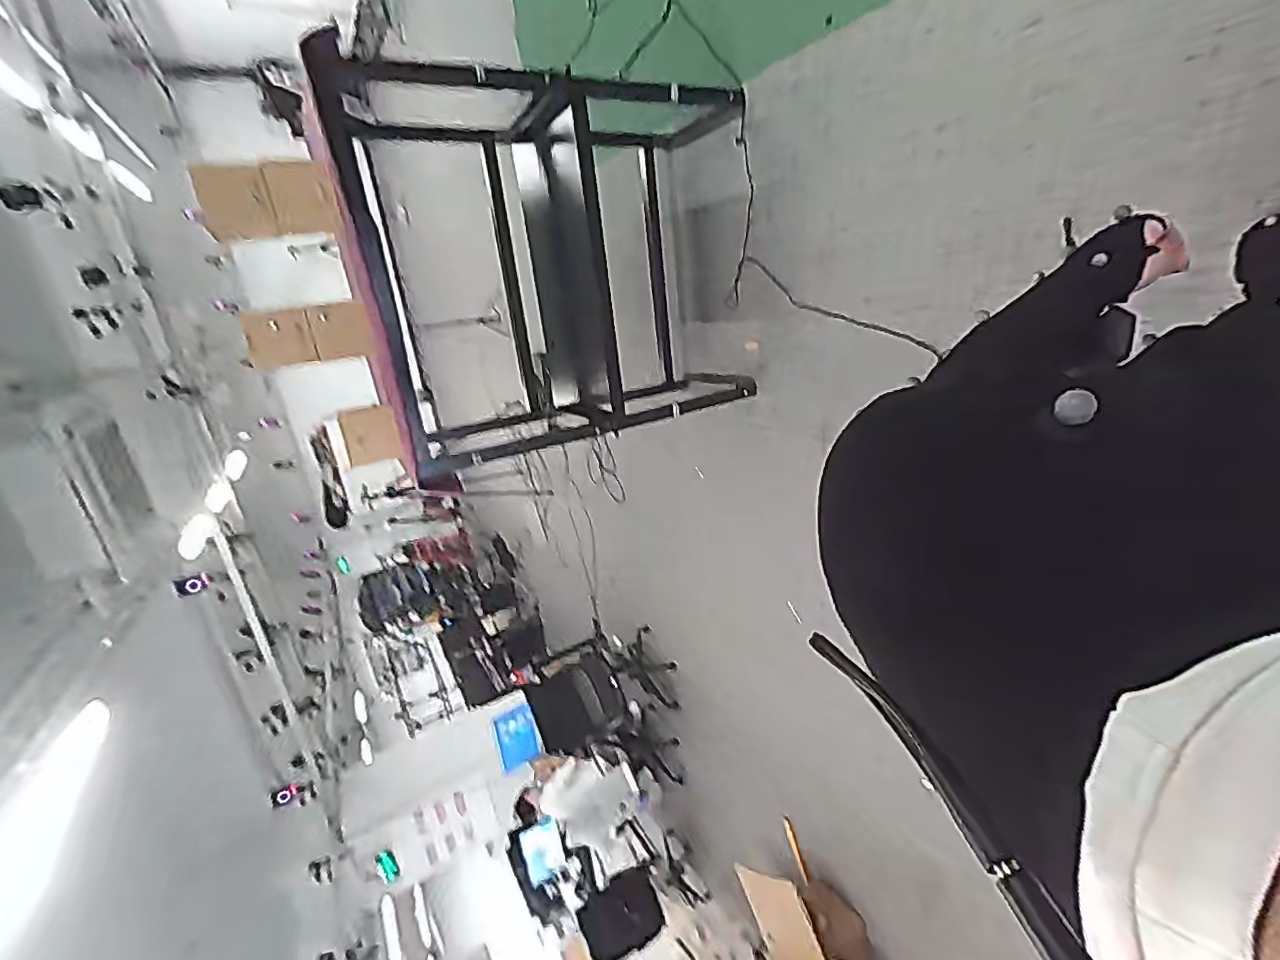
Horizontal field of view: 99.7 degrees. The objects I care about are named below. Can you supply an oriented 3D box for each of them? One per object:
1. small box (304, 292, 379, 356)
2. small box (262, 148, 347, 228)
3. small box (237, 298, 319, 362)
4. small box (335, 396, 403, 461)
[{"bbox_3d":[-0.933,-0.491,1.693,0.168,0.176,0.179,25,126,57],"label":"small box"},{"bbox_3d":[-0.971,-0.843,1.575,0.168,0.176,0.179,25,126,58],"label":"small box"},{"bbox_3d":[-1.078,-0.452,1.627,0.179,0.176,0.168,25,125,57],"label":"small box"},{"bbox_3d":[-0.893,-0.175,1.786,0.168,0.176,0.179,19,120,58],"label":"small box"}]
